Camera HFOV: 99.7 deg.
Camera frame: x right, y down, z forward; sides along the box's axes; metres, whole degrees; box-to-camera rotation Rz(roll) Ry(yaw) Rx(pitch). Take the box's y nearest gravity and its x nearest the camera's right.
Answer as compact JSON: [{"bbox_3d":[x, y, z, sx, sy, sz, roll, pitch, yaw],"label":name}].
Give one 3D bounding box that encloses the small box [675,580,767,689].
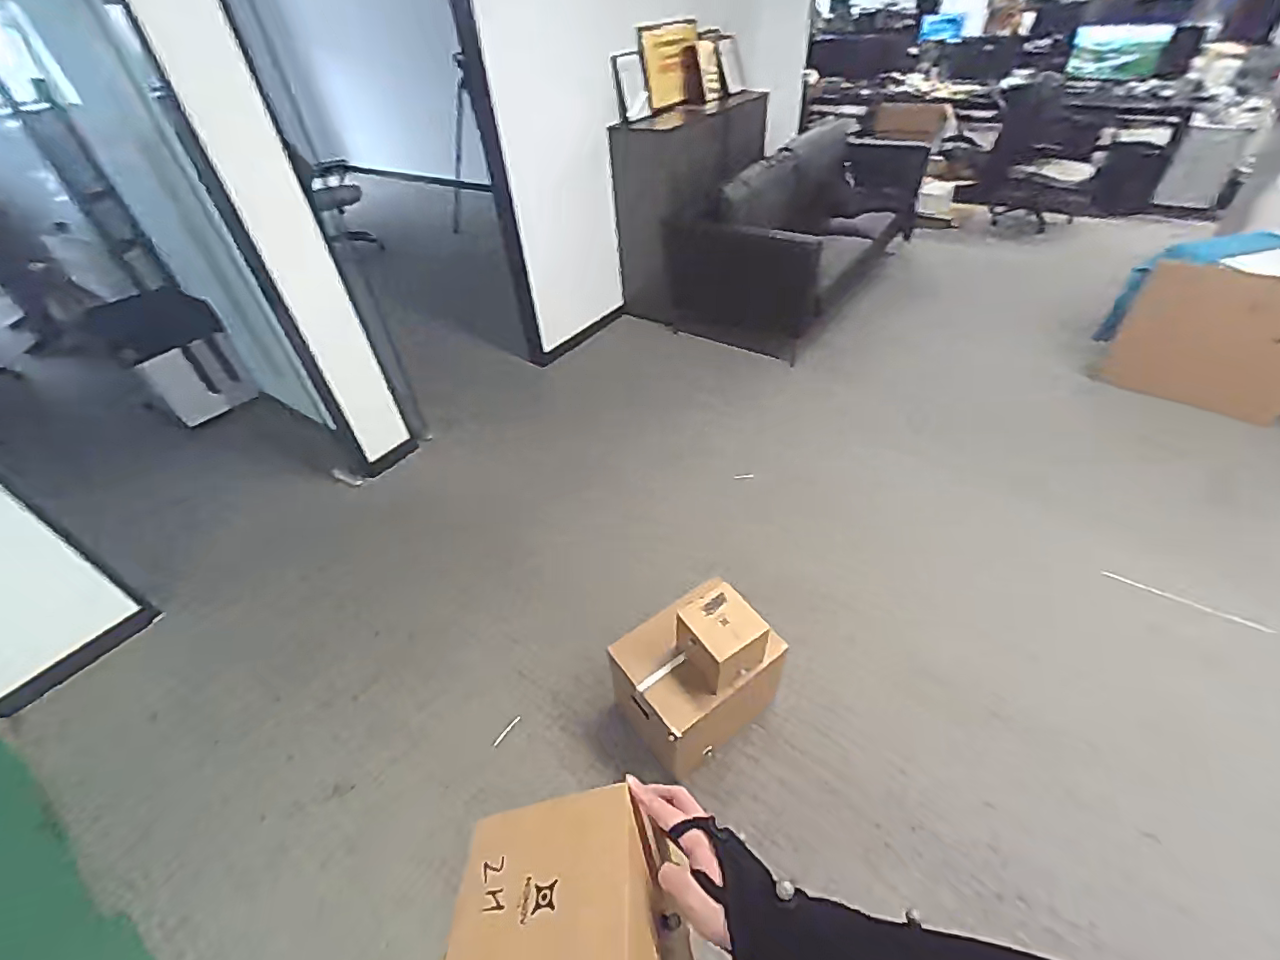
[{"bbox_3d":[0.202,0.402,1.404,0.168,0.176,0.179,-26,48,-22],"label":"small box"}]
